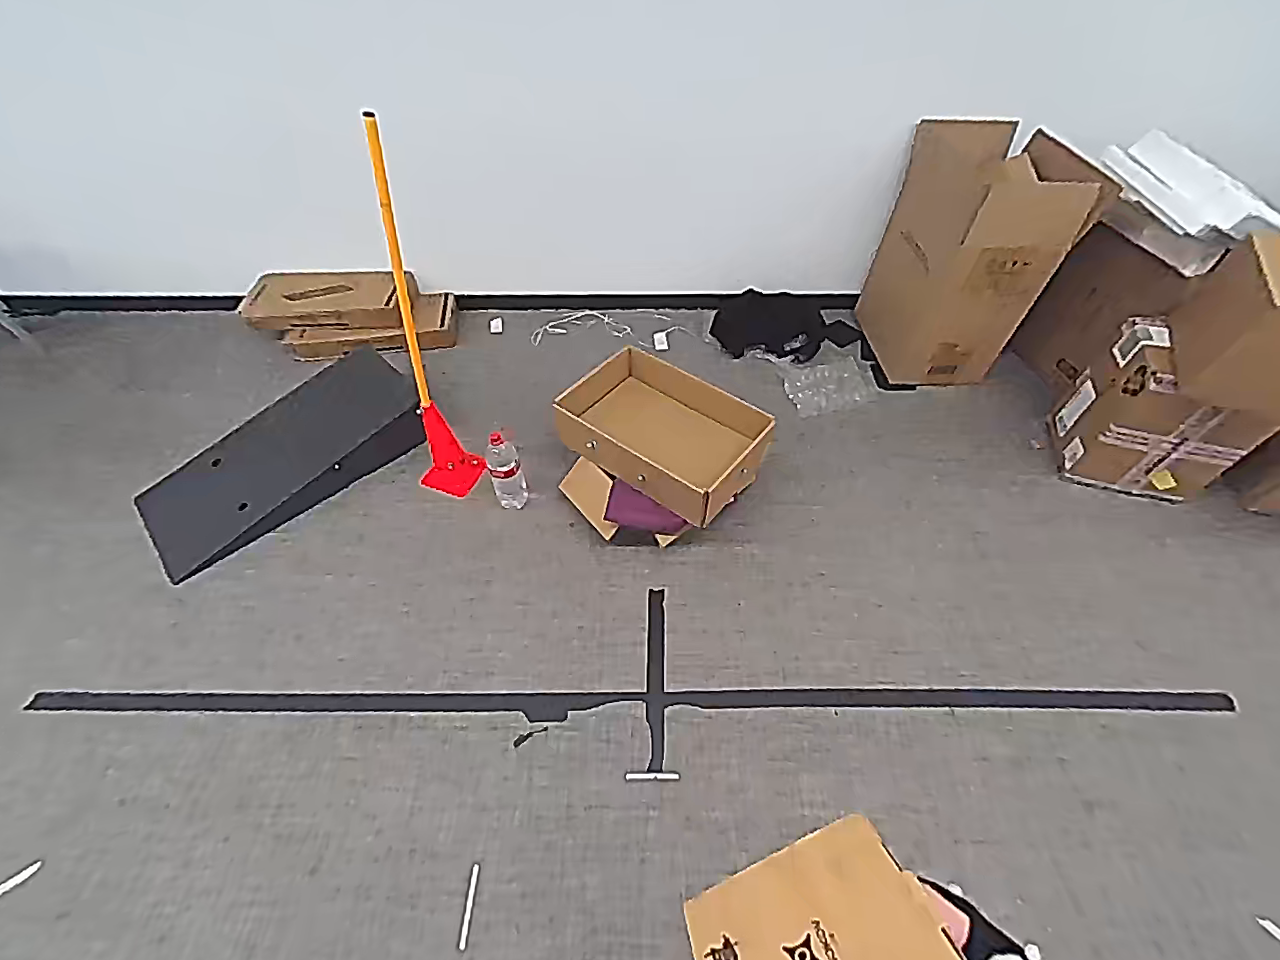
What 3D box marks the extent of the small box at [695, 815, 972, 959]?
[{"bbox_3d":[0.165,0.414,0.409,0.179,0.176,0.168,-25,9,-3],"label":"small box"}]
